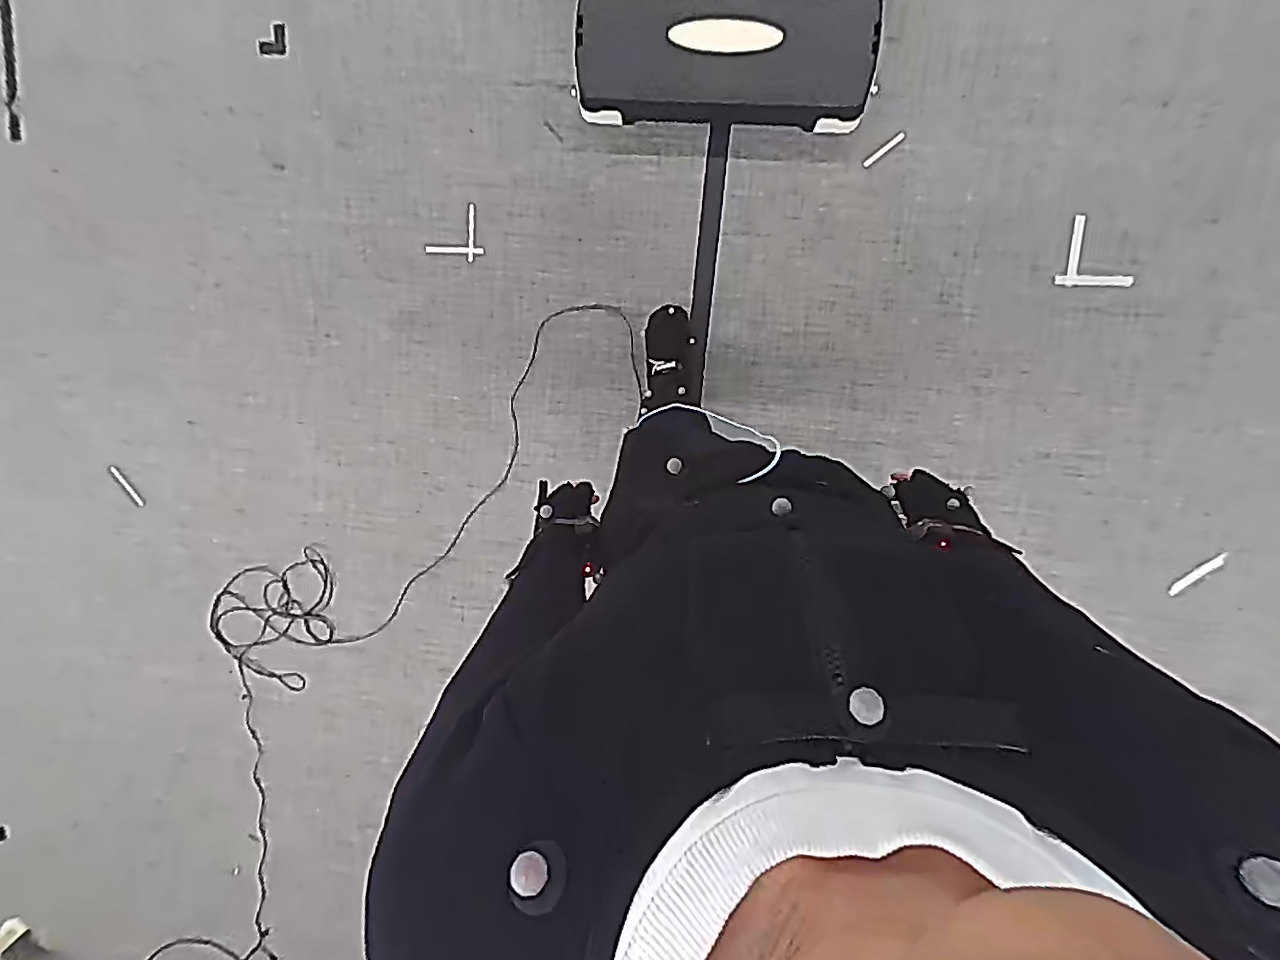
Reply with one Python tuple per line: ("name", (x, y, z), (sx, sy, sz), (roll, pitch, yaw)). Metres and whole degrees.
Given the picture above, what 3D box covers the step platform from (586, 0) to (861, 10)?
("step platform", (0.183, -1.217, 1.140), (0.684, 0.204, 0.286), (4, 100, 3))
